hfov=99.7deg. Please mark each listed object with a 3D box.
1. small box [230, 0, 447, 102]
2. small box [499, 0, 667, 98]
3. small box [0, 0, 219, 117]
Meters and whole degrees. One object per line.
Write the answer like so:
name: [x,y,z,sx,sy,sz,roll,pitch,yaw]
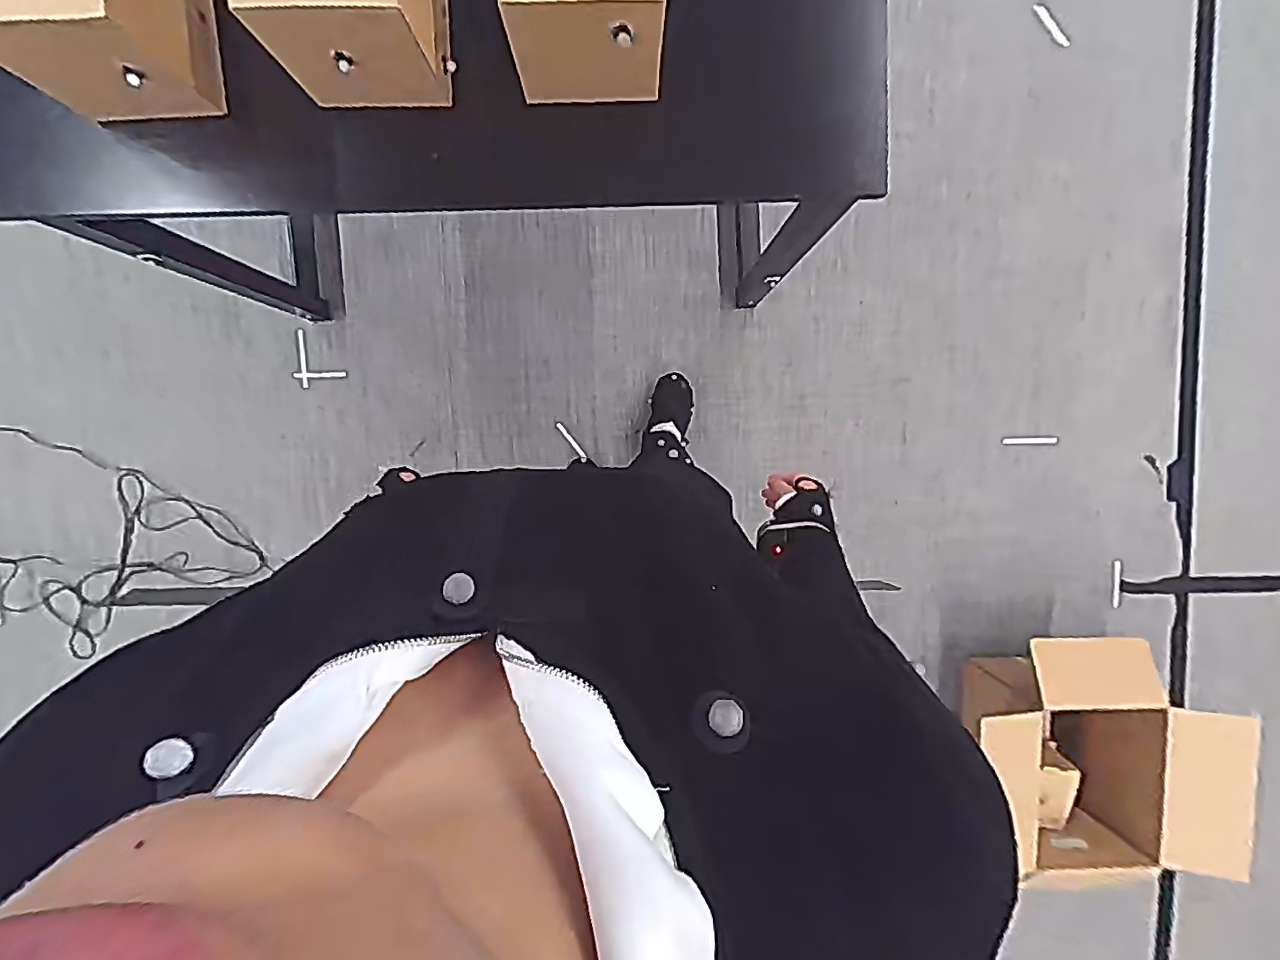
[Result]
small box: [-0.333,-0.571,0.625,0.179,0.176,0.168,-1,95,0]
small box: [-0.063,-0.581,0.629,0.179,0.176,0.168,-2,94,-1]
small box: [-0.627,-0.552,0.621,0.179,0.176,0.168,-4,94,-1]
